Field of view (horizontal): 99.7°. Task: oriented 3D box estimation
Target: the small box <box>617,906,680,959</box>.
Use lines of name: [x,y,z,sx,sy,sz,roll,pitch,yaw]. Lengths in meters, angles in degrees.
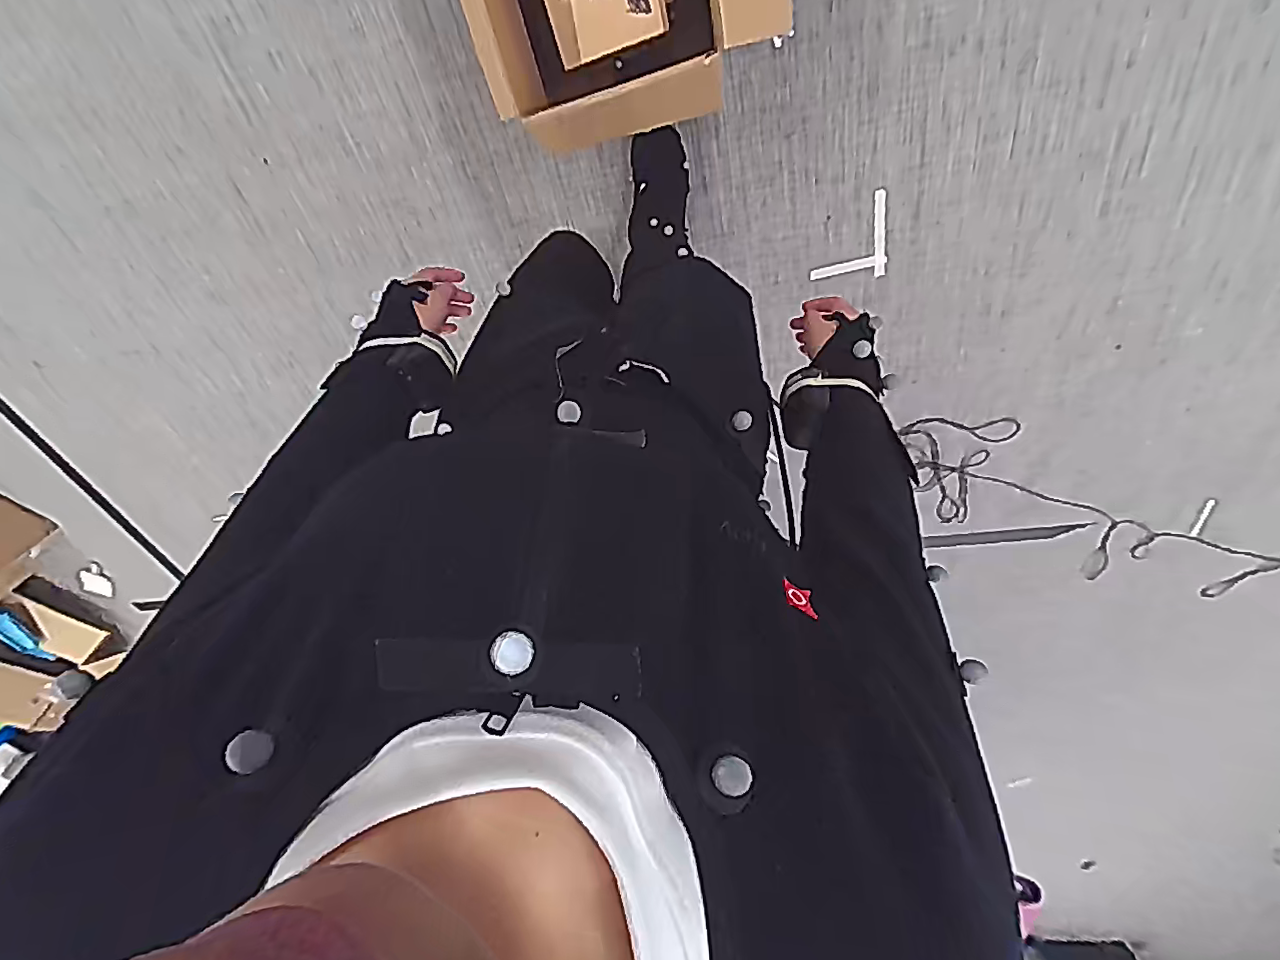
small box: [0.030,1.424,1.639,0.168,0.176,0.179,-4,128,9]
